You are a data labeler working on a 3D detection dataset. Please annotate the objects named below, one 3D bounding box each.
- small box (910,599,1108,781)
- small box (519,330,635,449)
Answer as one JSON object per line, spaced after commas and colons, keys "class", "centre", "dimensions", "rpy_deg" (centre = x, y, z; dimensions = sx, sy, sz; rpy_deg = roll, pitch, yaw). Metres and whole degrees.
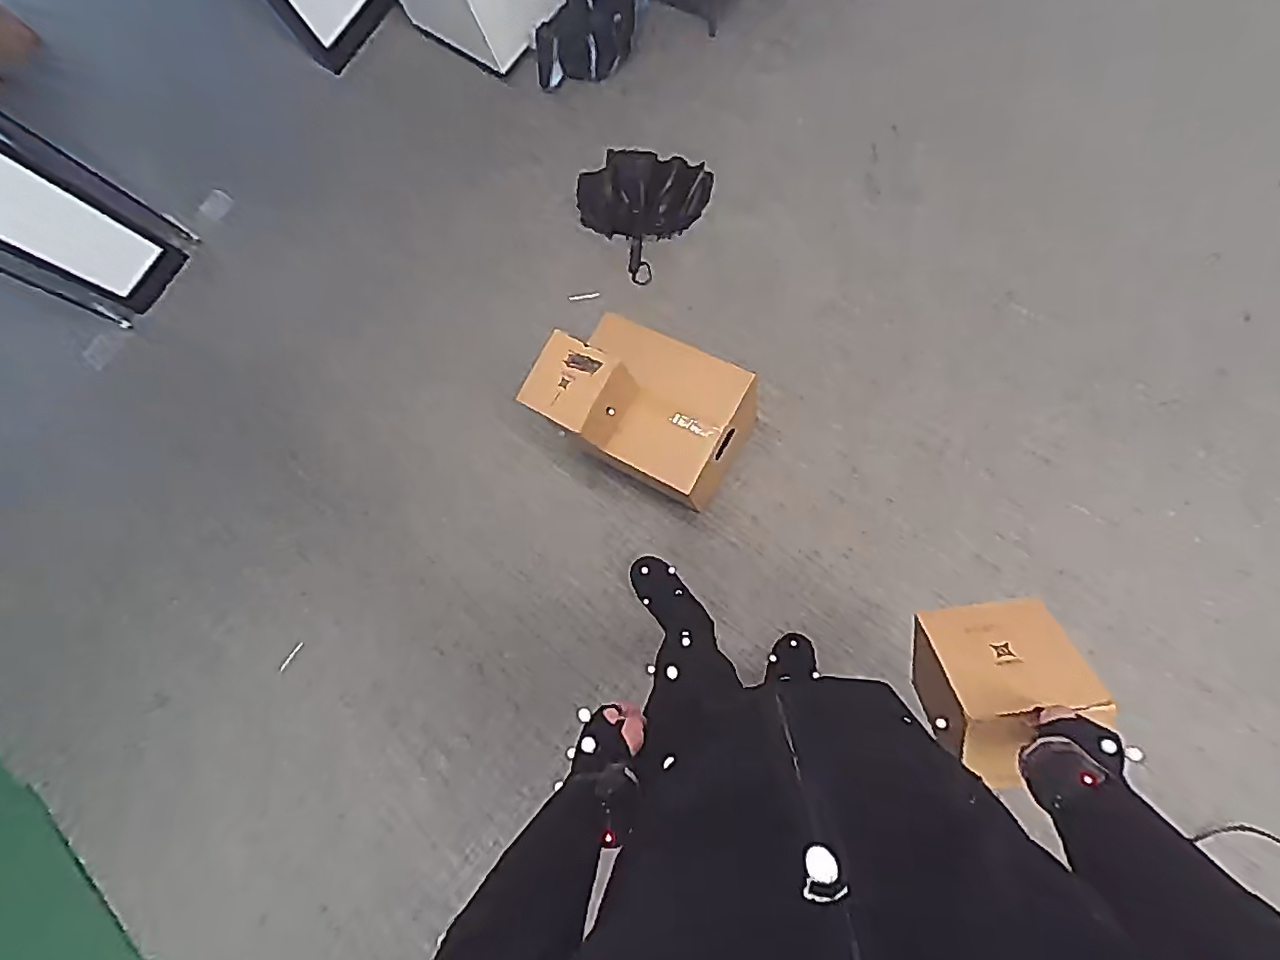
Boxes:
{"class": "small box", "centre": [0.493, 0.296, 0.754], "dimensions": [0.168, 0.179, 0.176], "rpy_deg": [-9, 120, 9]}
{"class": "small box", "centre": [-0.127, -0.192, 1.191], "dimensions": [0.168, 0.176, 0.179], "rpy_deg": [29, 89, 17]}
